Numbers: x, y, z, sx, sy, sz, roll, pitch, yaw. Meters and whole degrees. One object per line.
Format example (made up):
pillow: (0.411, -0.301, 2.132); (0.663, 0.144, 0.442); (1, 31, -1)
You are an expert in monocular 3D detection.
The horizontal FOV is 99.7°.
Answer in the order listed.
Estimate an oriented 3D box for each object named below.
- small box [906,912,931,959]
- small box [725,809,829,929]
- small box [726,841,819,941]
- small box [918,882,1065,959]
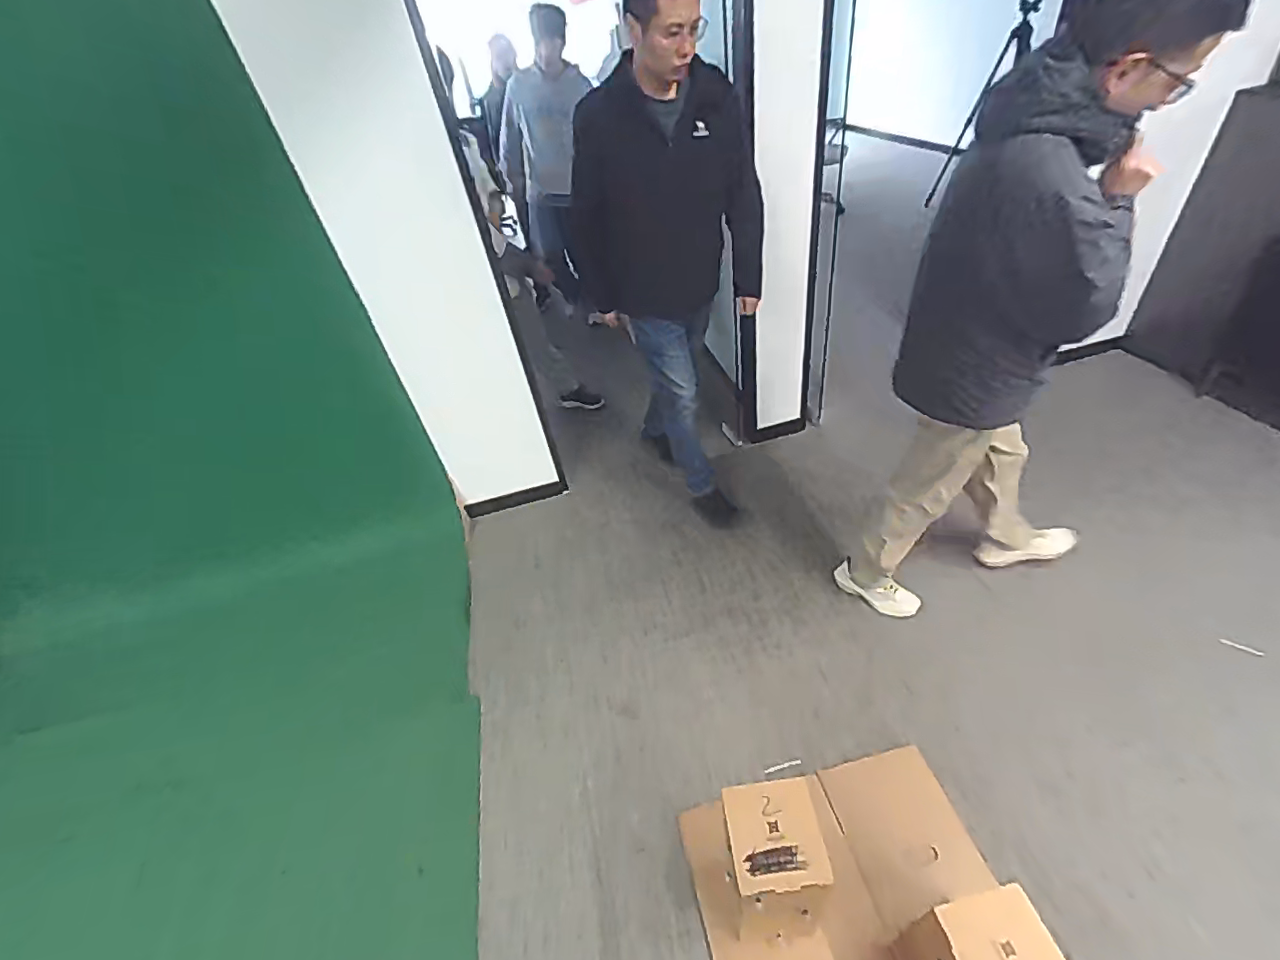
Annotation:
small box: (0.676, 1.001, 1.117); (0.179, 0.176, 0.168); (-14, 41, -3)
small box: (0.282, 0.826, 1.147); (0.179, 0.176, 0.168); (-9, 40, 2)
small box: (0.301, 0.947, 1.259); (0.179, 0.176, 0.168); (-9, 40, 2)
small box: (0.654, 0.886, 1.006); (0.179, 0.176, 0.168); (-15, 41, -3)
